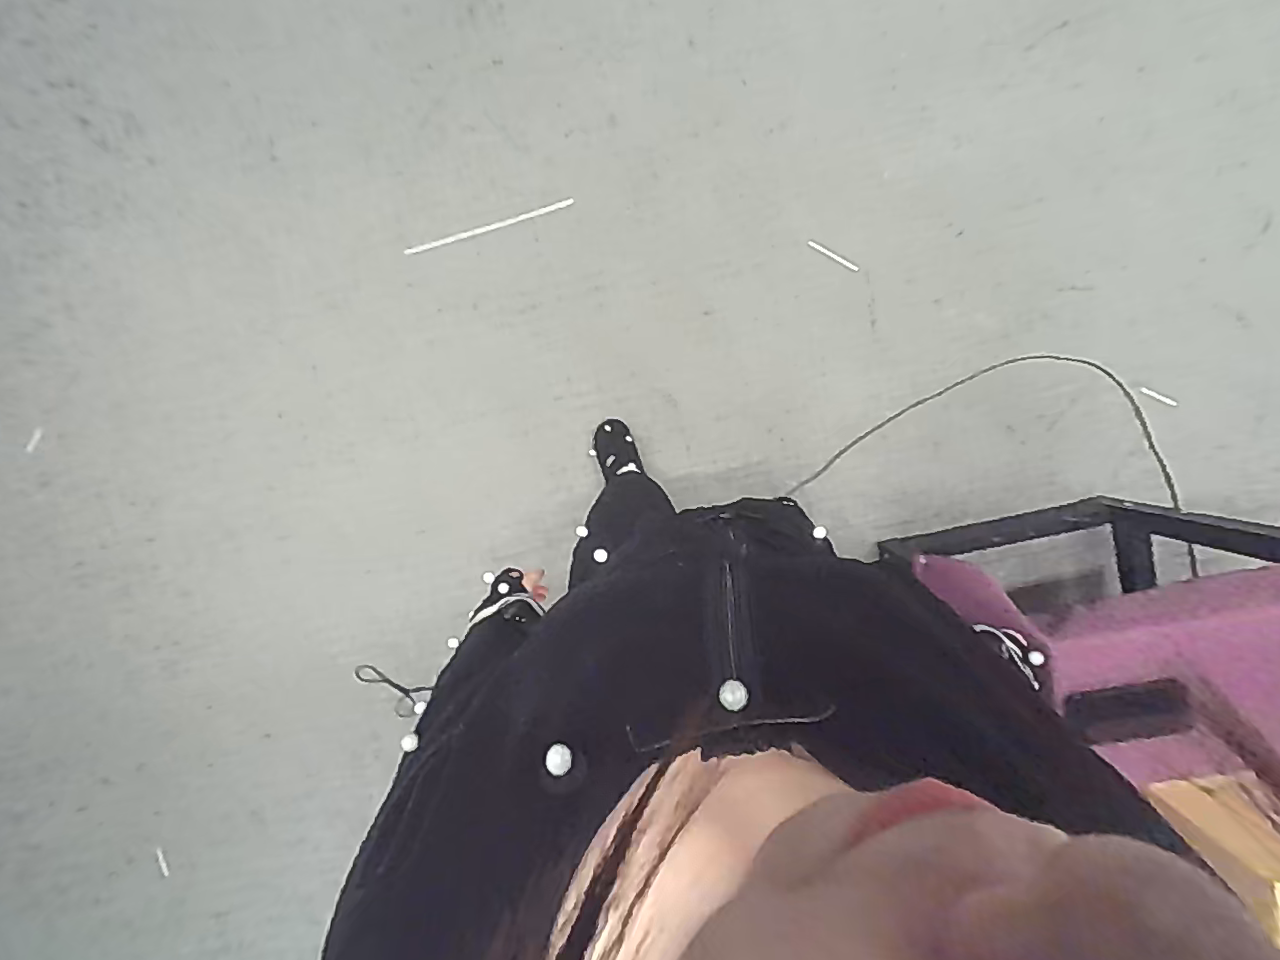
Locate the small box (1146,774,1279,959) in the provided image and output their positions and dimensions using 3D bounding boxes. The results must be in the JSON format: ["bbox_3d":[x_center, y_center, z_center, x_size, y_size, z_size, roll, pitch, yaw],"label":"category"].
[{"bbox_3d":[0.780,0.492,0.667,0.168,0.176,0.179,-11,96,5],"label":"small box"}]
